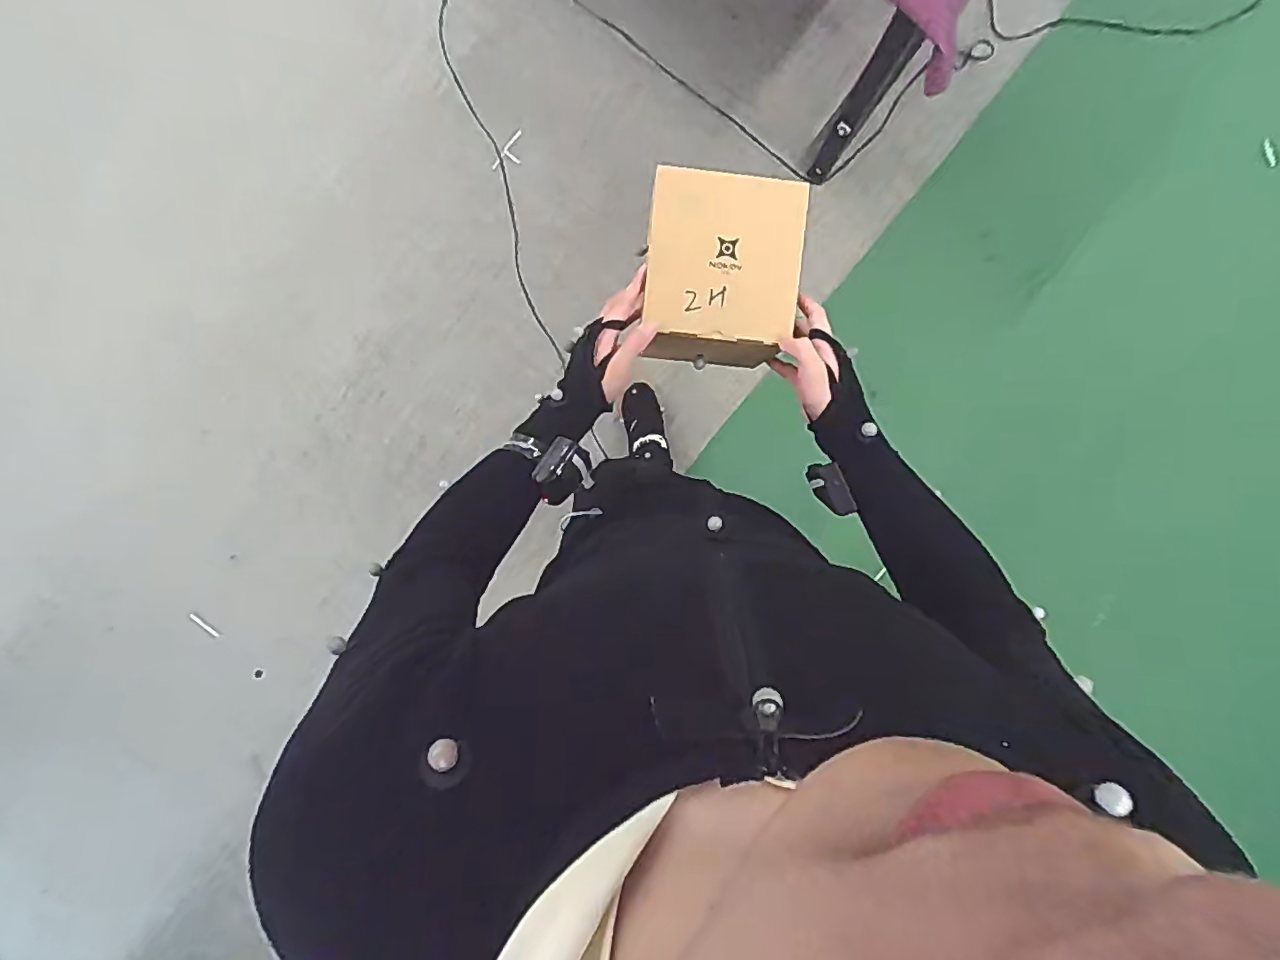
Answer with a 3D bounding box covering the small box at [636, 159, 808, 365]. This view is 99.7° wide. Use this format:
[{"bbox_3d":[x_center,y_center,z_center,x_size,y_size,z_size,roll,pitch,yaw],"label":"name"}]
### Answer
[{"bbox_3d":[0.086,-0.245,0.648,0.168,0.176,0.179,6,94,-2],"label":"small box"}]
